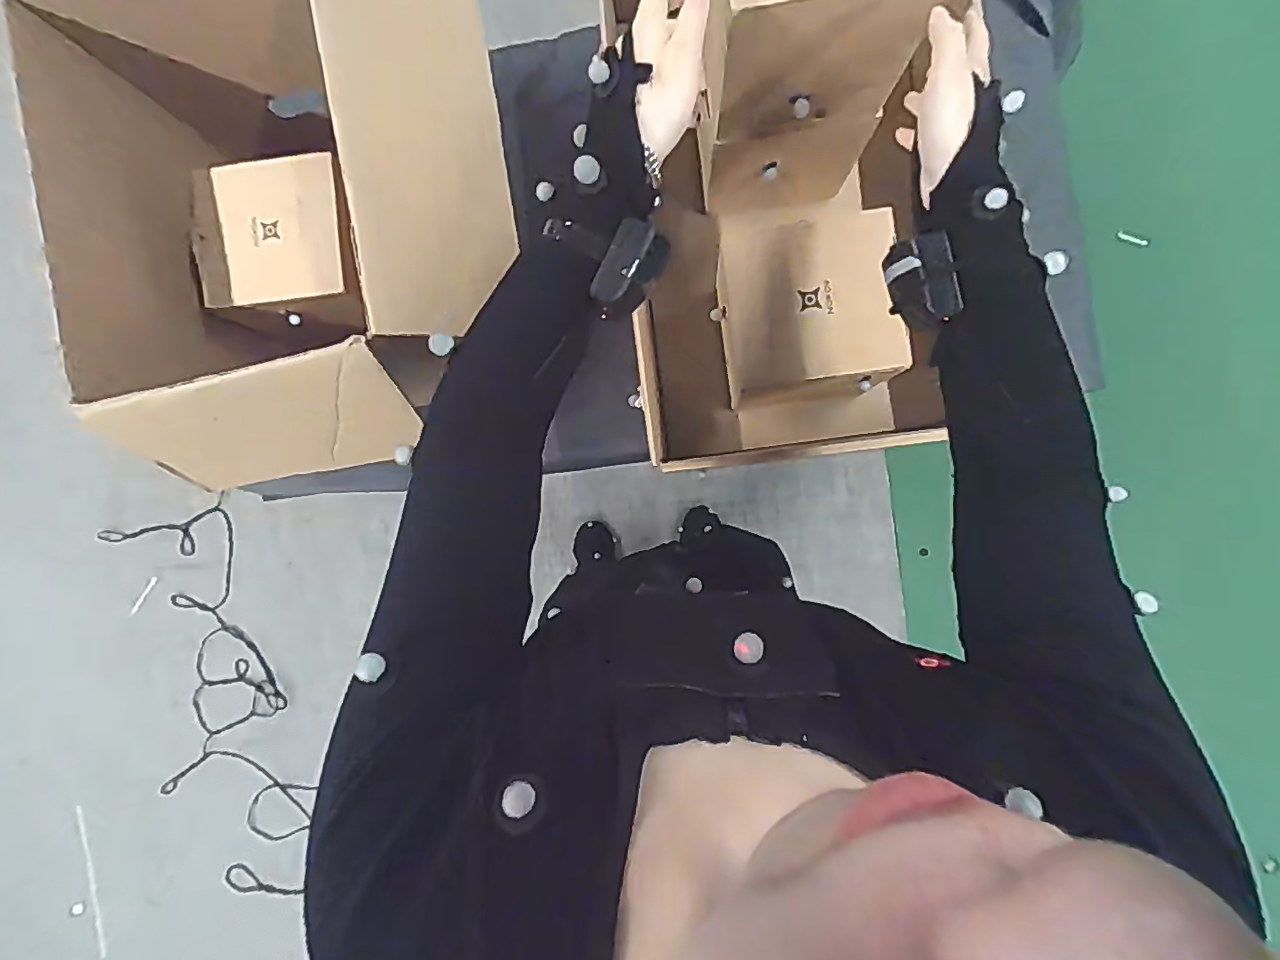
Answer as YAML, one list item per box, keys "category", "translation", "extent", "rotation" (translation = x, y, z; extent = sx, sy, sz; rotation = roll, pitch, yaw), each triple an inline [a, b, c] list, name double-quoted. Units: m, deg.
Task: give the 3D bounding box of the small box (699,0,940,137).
- category: "small box"
  translation: [0.142, -0.443, 0.472]
  extent: [0.168, 0.176, 0.179]
  rotation: [-6, 94, 4]

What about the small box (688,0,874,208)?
- category: "small box"
  translation: [0.153, -0.446, 0.637]
  extent: [0.179, 0.176, 0.168]
  rotation: [-7, 93, 6]
